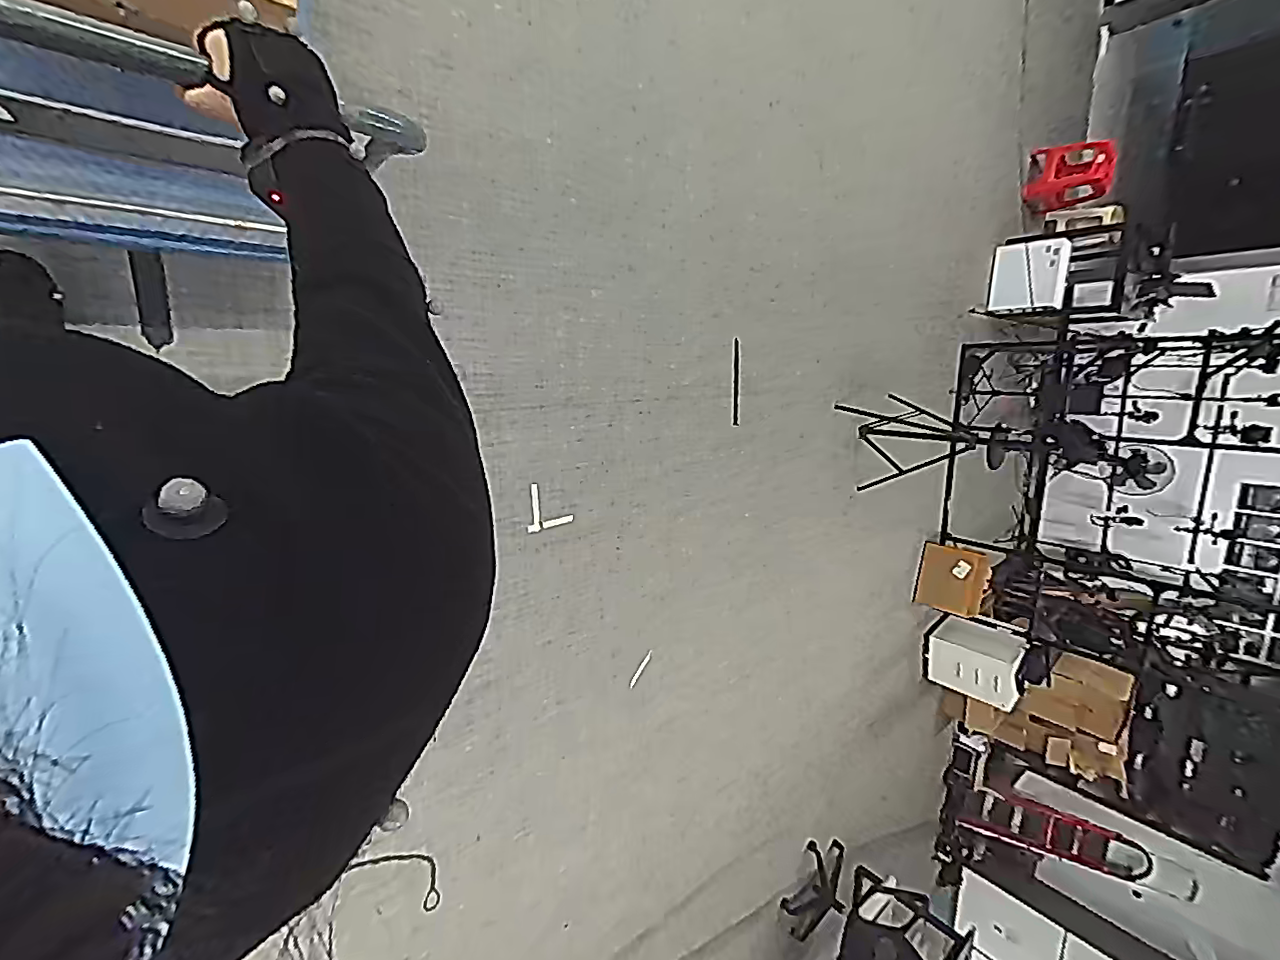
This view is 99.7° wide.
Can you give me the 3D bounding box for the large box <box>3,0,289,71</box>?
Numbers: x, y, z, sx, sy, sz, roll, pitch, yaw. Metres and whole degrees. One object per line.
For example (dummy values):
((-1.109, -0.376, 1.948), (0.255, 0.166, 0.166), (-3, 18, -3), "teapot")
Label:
((-0.762, -0.861, 0.756), (0.408, 0.320, 0.320), (-9, 104, -39), "large box")
